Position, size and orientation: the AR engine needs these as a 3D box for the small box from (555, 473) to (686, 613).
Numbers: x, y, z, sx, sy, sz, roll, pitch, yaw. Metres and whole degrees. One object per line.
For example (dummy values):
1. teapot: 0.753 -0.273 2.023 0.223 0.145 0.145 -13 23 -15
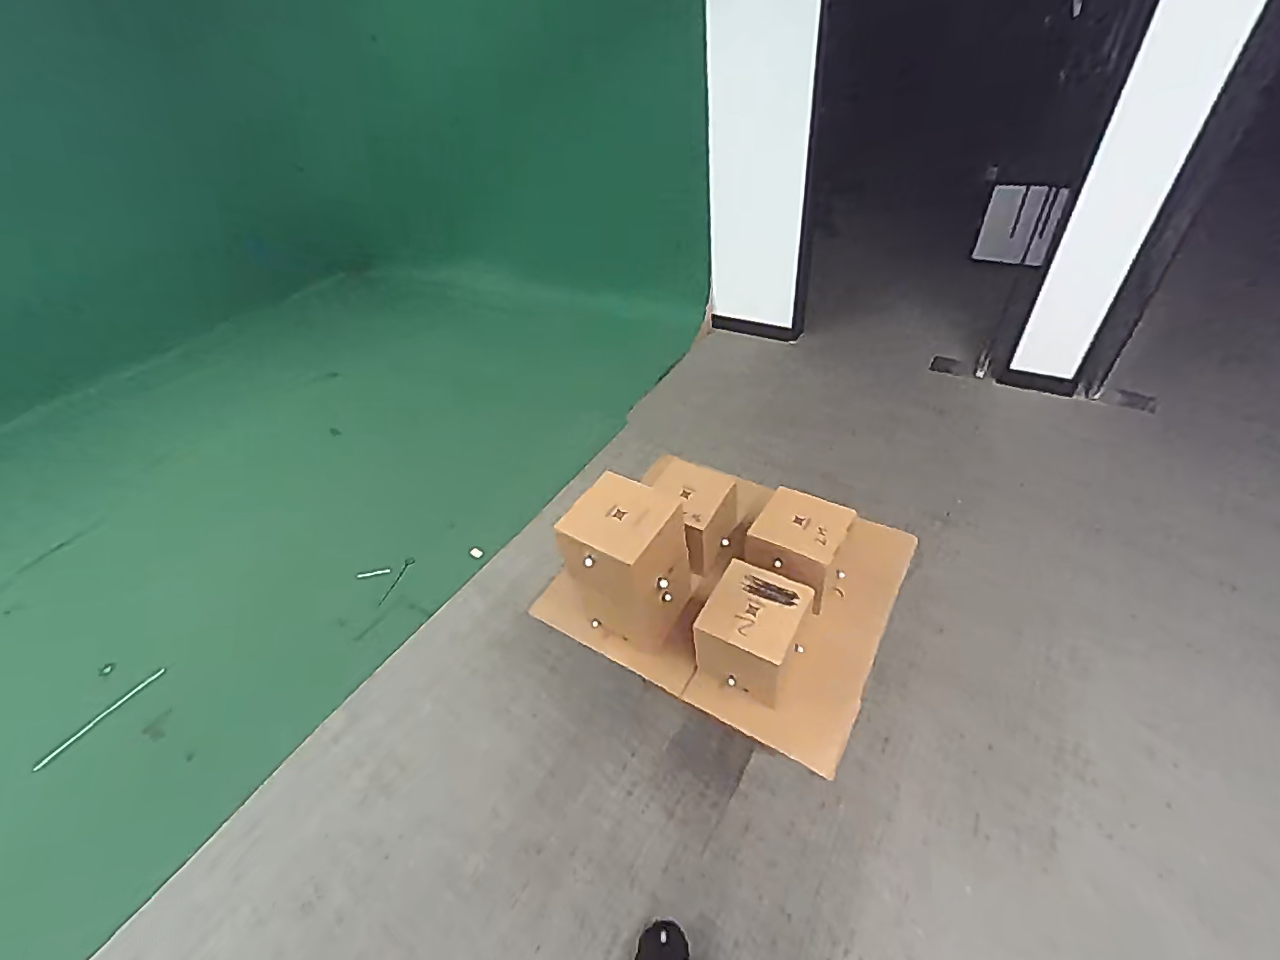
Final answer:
1. small box: -0.029 0.120 1.017 0.179 0.176 0.168 22 53 29

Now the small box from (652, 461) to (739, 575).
1. small box: 0.120 0.087 1.264 0.168 0.176 0.179 17 48 28
